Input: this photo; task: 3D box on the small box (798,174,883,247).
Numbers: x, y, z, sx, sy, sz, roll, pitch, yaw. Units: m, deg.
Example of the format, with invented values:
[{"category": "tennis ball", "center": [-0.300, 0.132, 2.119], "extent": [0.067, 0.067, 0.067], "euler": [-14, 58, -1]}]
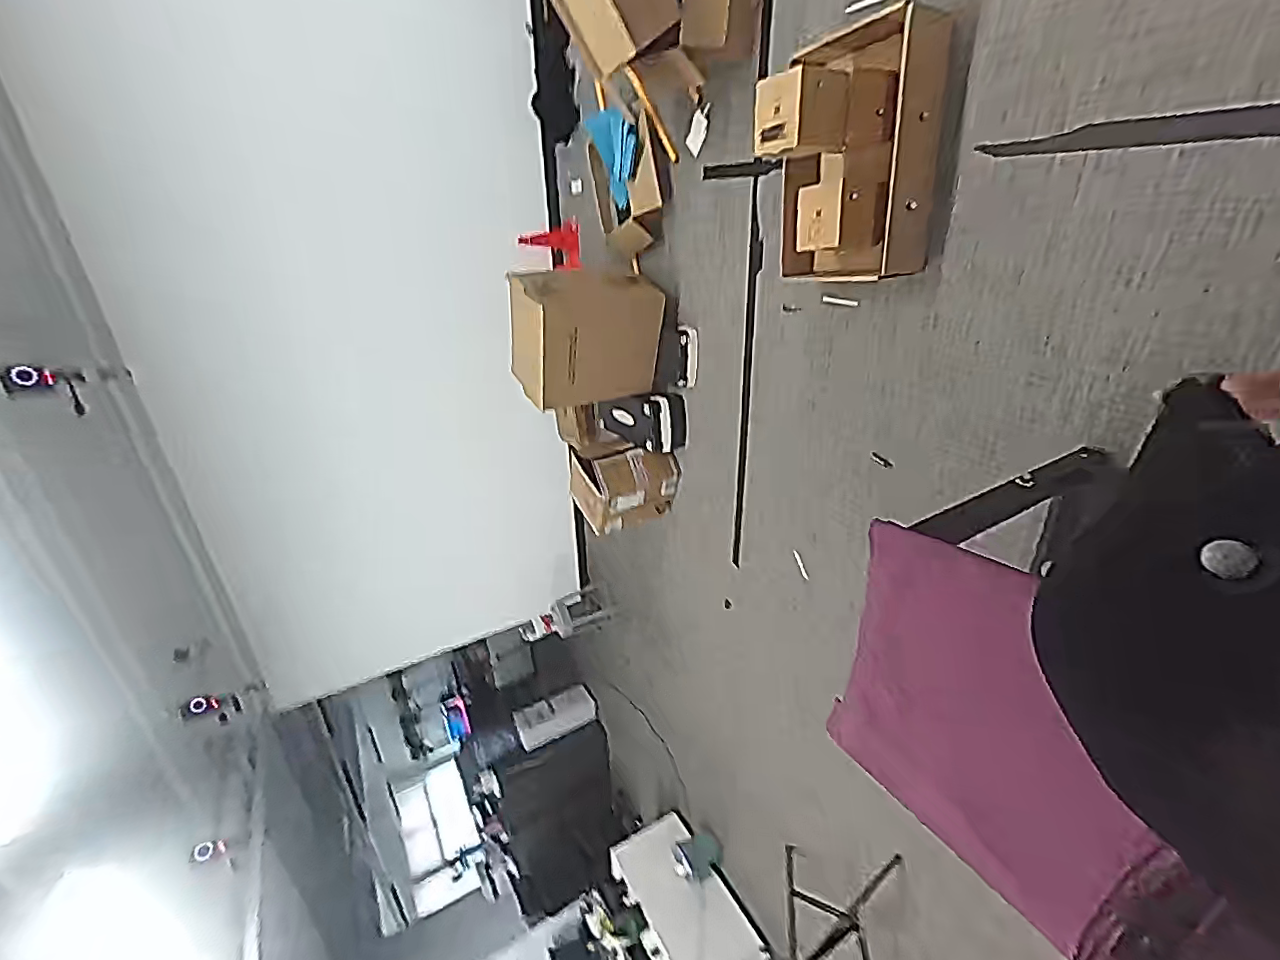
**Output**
[{"category": "small box", "center": [0.591, -0.787, 1.595], "extent": [0.168, 0.176, 0.179], "euler": [29, 128, 57]}]

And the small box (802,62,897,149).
[{"category": "small box", "center": [0.575, -1.028, 1.499], "extent": [0.179, 0.176, 0.168], "euler": [30, 131, 55]}]
